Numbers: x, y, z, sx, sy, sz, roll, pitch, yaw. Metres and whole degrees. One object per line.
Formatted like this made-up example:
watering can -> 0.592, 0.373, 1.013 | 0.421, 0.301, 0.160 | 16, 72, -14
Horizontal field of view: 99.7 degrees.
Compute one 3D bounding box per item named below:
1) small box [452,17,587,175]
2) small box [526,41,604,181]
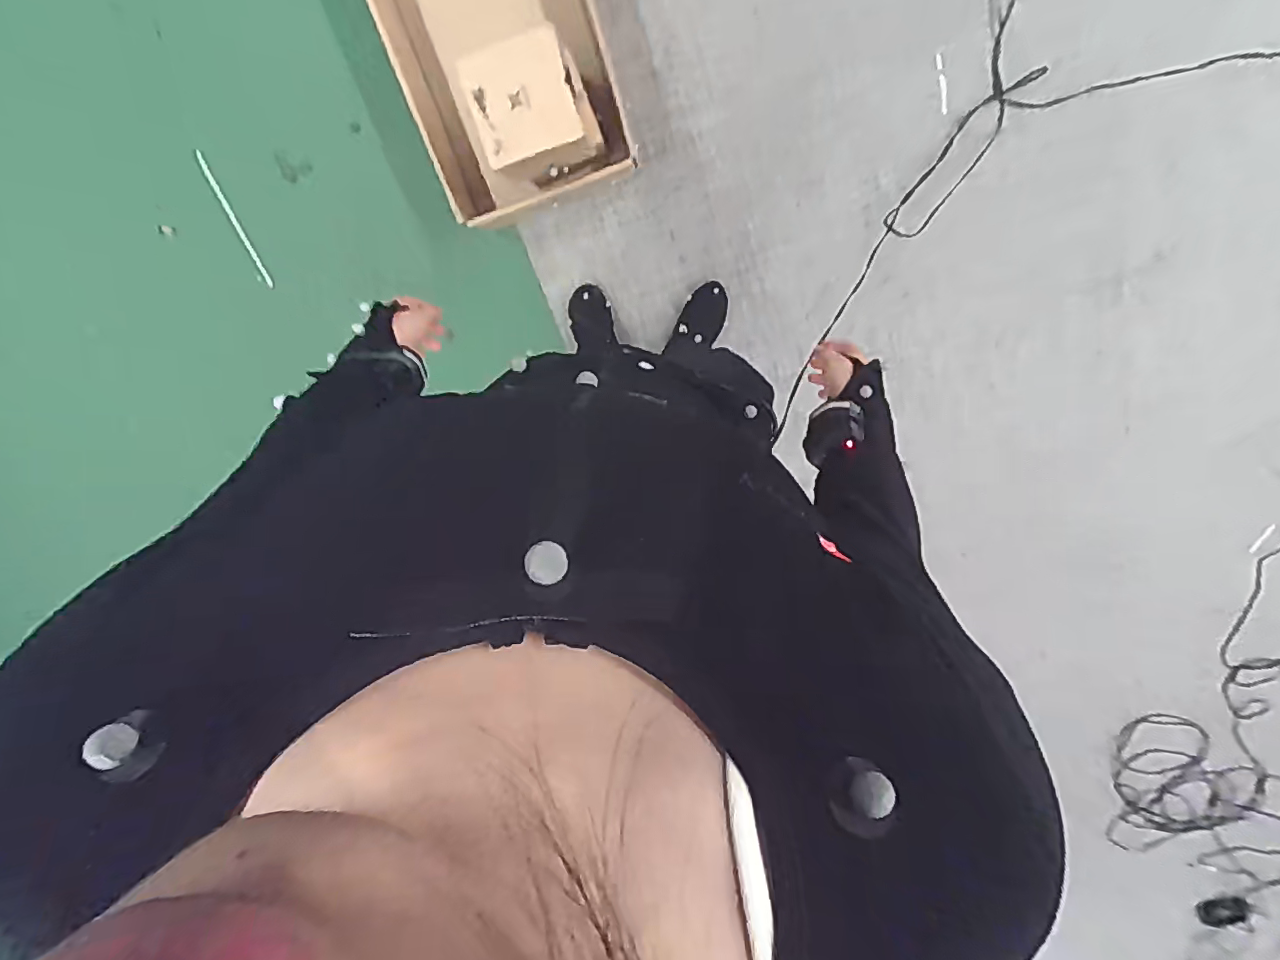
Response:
small box -> -0.198, -0.665, 0.959 | 0.179, 0.176, 0.168 | -15, 111, 6
small box -> -0.186, -0.738, 1.106 | 0.179, 0.176, 0.168 | -20, 110, 8
